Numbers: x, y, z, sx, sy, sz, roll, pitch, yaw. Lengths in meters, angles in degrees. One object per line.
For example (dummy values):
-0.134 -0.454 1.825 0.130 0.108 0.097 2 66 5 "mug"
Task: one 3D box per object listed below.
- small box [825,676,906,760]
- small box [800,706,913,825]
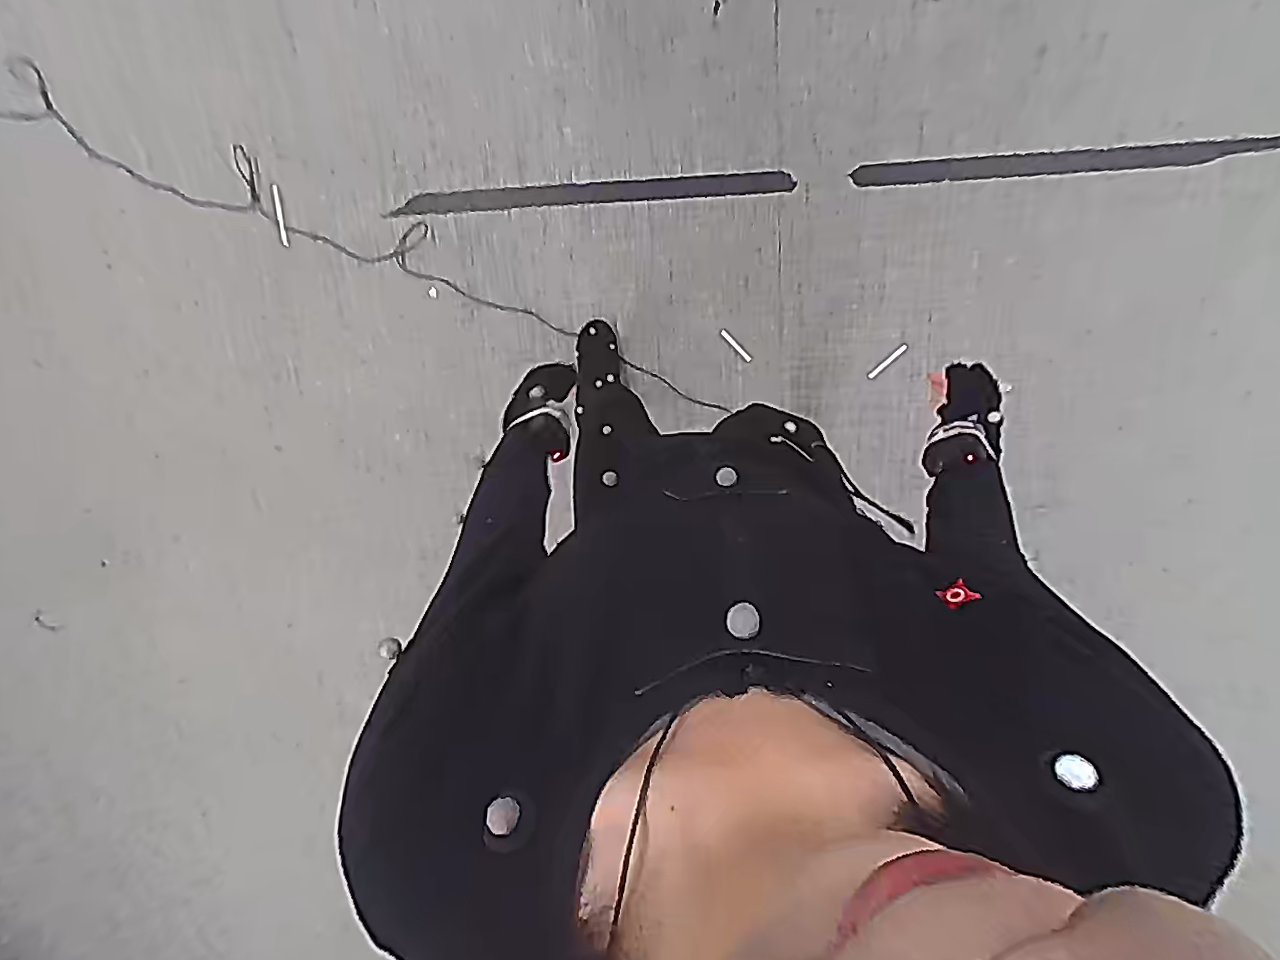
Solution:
0.619 0.670 1.502 0.168 0.176 0.179 -4 103 4 "small box"
0.526 0.698 1.346 0.179 0.176 0.168 29 105 -6 "small box"
